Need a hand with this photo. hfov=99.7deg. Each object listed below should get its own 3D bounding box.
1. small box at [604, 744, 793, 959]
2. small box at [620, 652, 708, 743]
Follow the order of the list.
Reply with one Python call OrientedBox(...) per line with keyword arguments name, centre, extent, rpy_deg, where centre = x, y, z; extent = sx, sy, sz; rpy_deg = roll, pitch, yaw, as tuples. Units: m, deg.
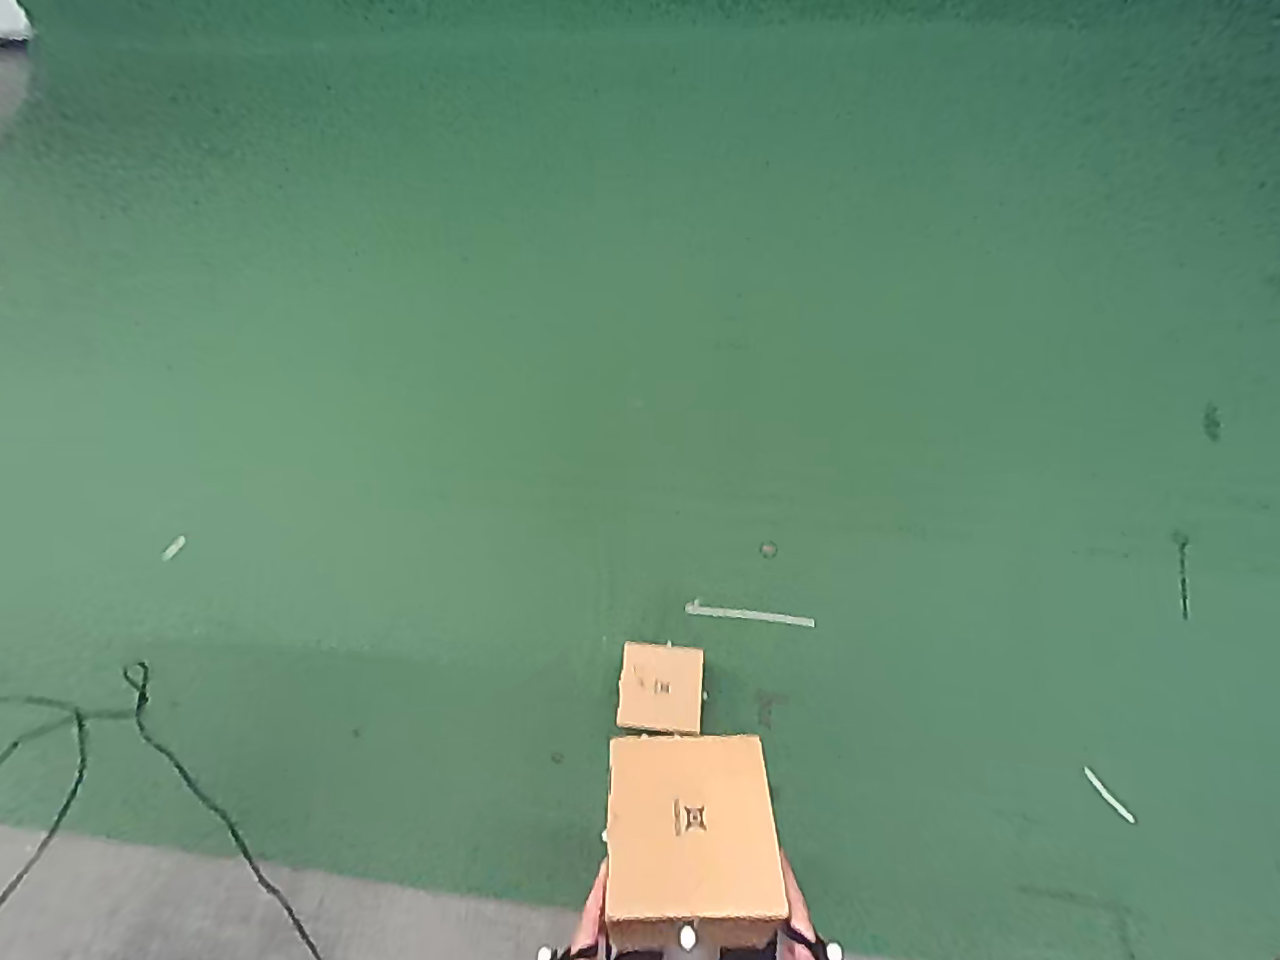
OrientedBox(name="small box", centre=(0.056, 0.414, 0.604), extent=(0.179, 0.176, 0.168), rpy_deg=(-2, 41, 2))
OrientedBox(name="small box", centre=(0.058, 0.487, 1.211), extent=(0.179, 0.176, 0.168), rpy_deg=(4, 65, 7))
